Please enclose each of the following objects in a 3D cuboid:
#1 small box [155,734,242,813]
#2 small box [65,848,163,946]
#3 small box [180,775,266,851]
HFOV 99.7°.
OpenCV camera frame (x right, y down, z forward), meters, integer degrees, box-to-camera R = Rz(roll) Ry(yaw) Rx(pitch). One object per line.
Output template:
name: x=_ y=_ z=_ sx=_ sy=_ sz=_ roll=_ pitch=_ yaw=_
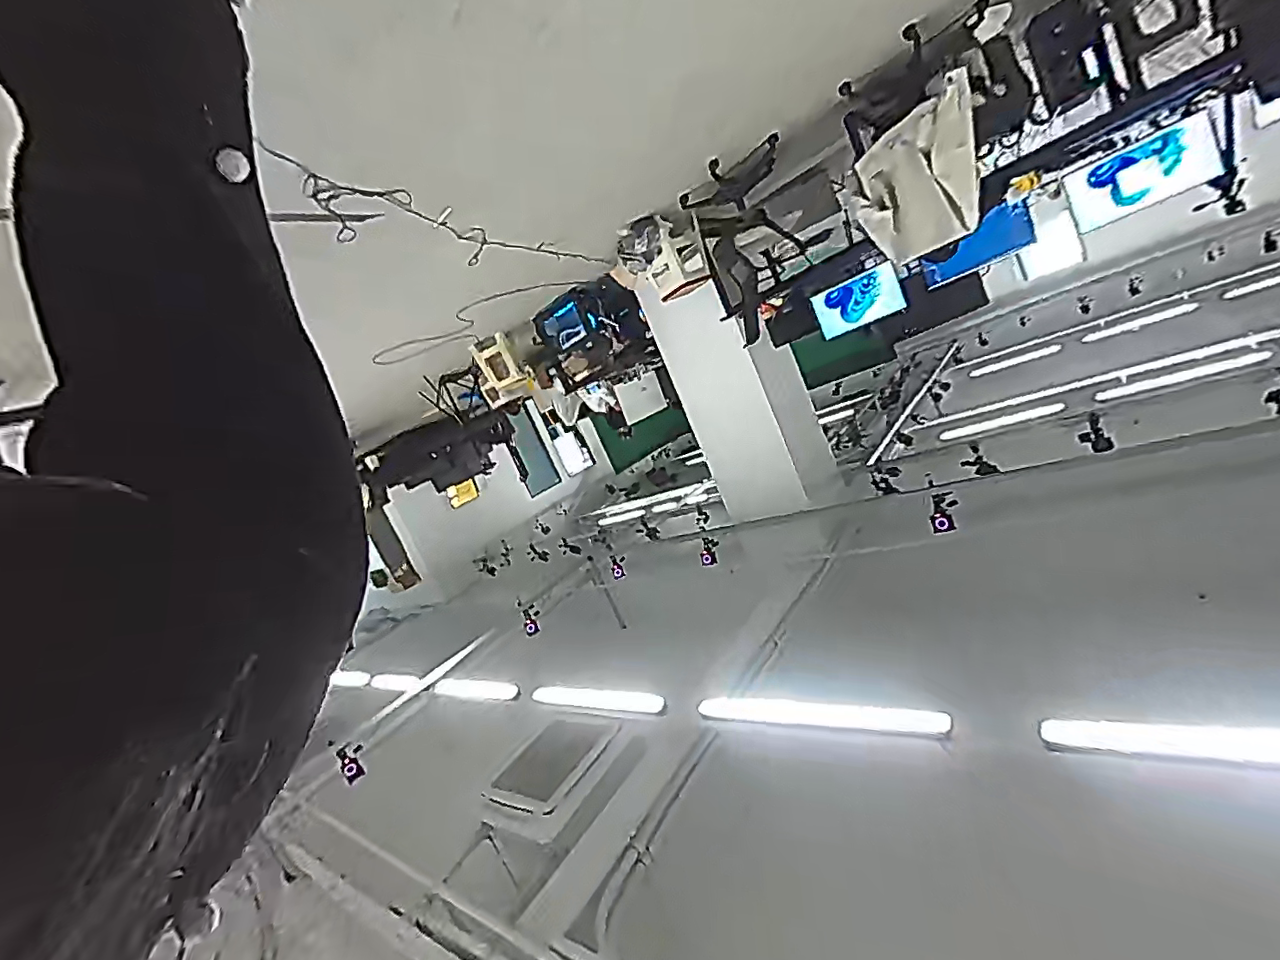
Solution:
small box: x=-1.536 y=1.010 z=1.878 sx=0.179 sy=0.176 sz=0.168 roll=-15 pitch=-167 yaw=39
small box: x=-1.617 y=1.260 z=1.662 sx=0.179 sy=0.176 sz=0.168 roll=-15 pitch=-168 yaw=43
small box: x=-1.474 y=1.160 z=1.905 sx=0.179 sy=0.176 sz=0.168 roll=-17 pitch=-169 yaw=36
